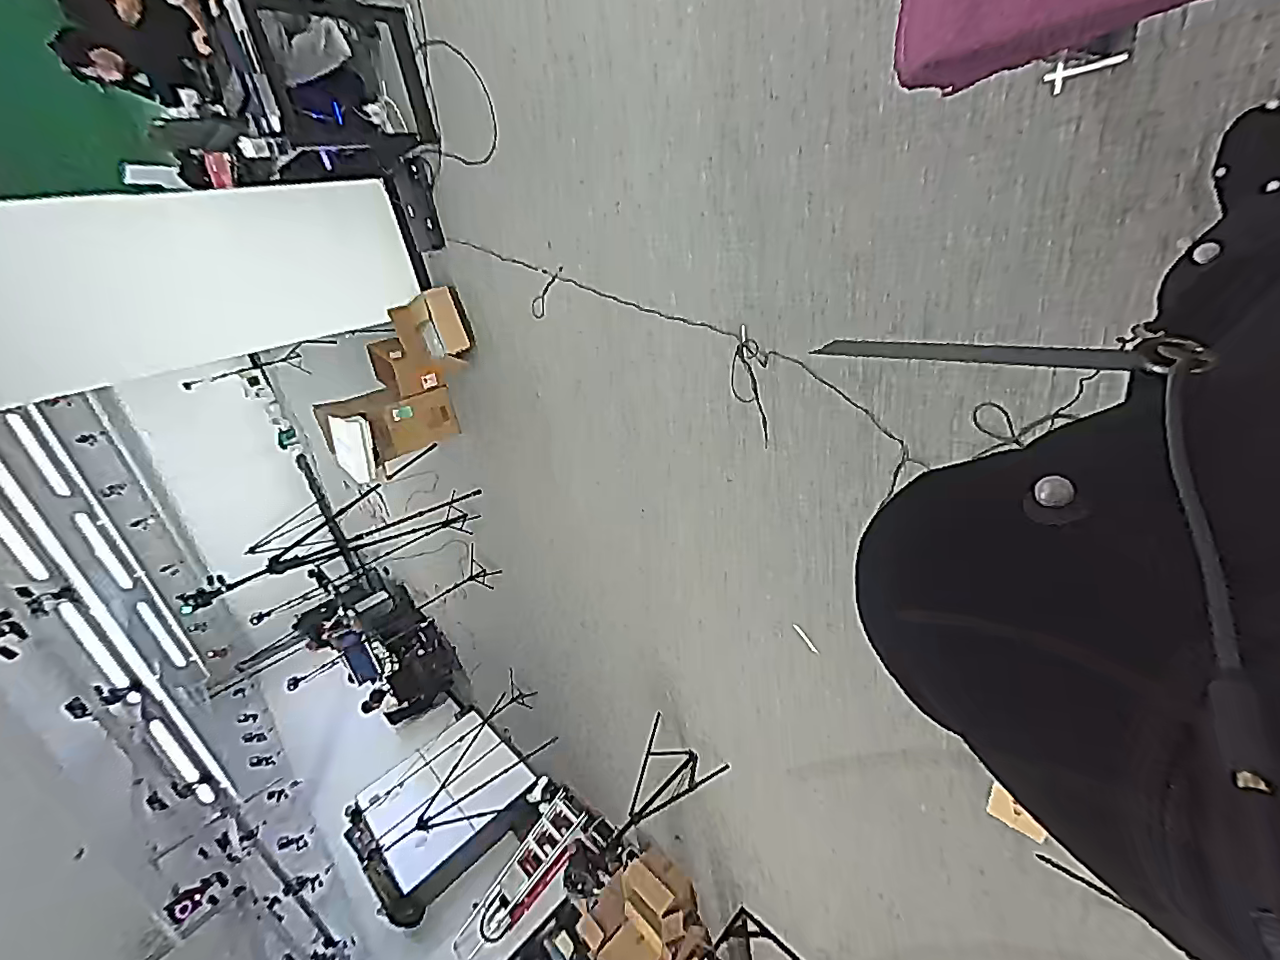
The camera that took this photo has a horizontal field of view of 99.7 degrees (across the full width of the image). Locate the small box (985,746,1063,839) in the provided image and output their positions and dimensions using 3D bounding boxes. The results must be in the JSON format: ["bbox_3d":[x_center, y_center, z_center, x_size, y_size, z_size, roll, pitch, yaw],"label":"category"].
[{"bbox_3d":[1.295,1.044,1.820,0.168,0.176,0.179,21,130,43],"label":"small box"}]
